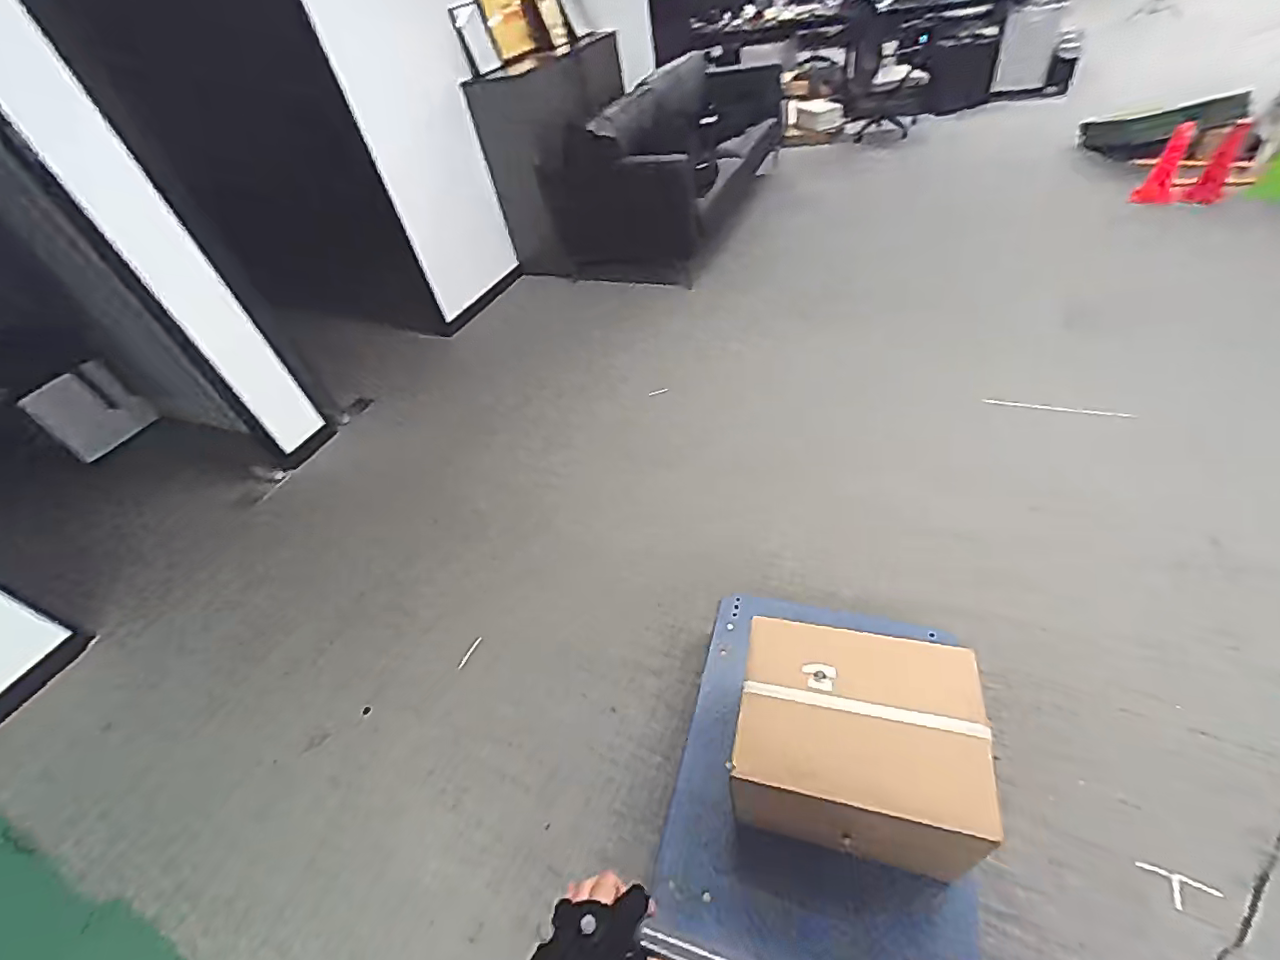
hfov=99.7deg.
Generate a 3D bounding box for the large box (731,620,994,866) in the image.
[{"bbox_3d":[0.411,0.513,1.072,0.408,0.320,0.320,4,46,18],"label":"large box"}]
